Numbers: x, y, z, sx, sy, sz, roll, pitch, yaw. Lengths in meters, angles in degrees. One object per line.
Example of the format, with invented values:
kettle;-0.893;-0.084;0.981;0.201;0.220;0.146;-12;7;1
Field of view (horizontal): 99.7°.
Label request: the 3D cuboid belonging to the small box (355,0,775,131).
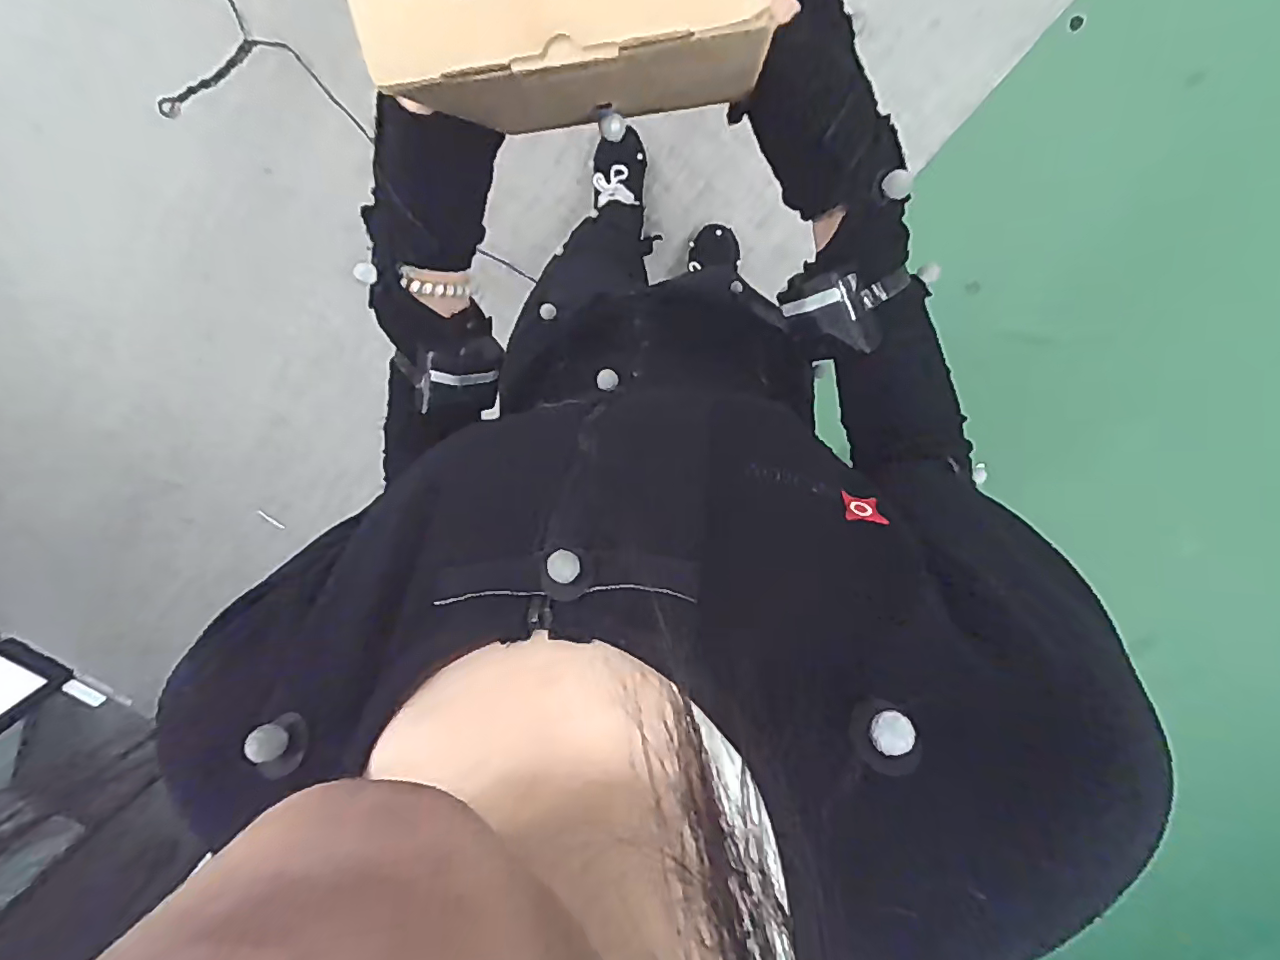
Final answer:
small box;-0.029;-0.282;0.248;0.168;0.176;0.179;-2;117;10
